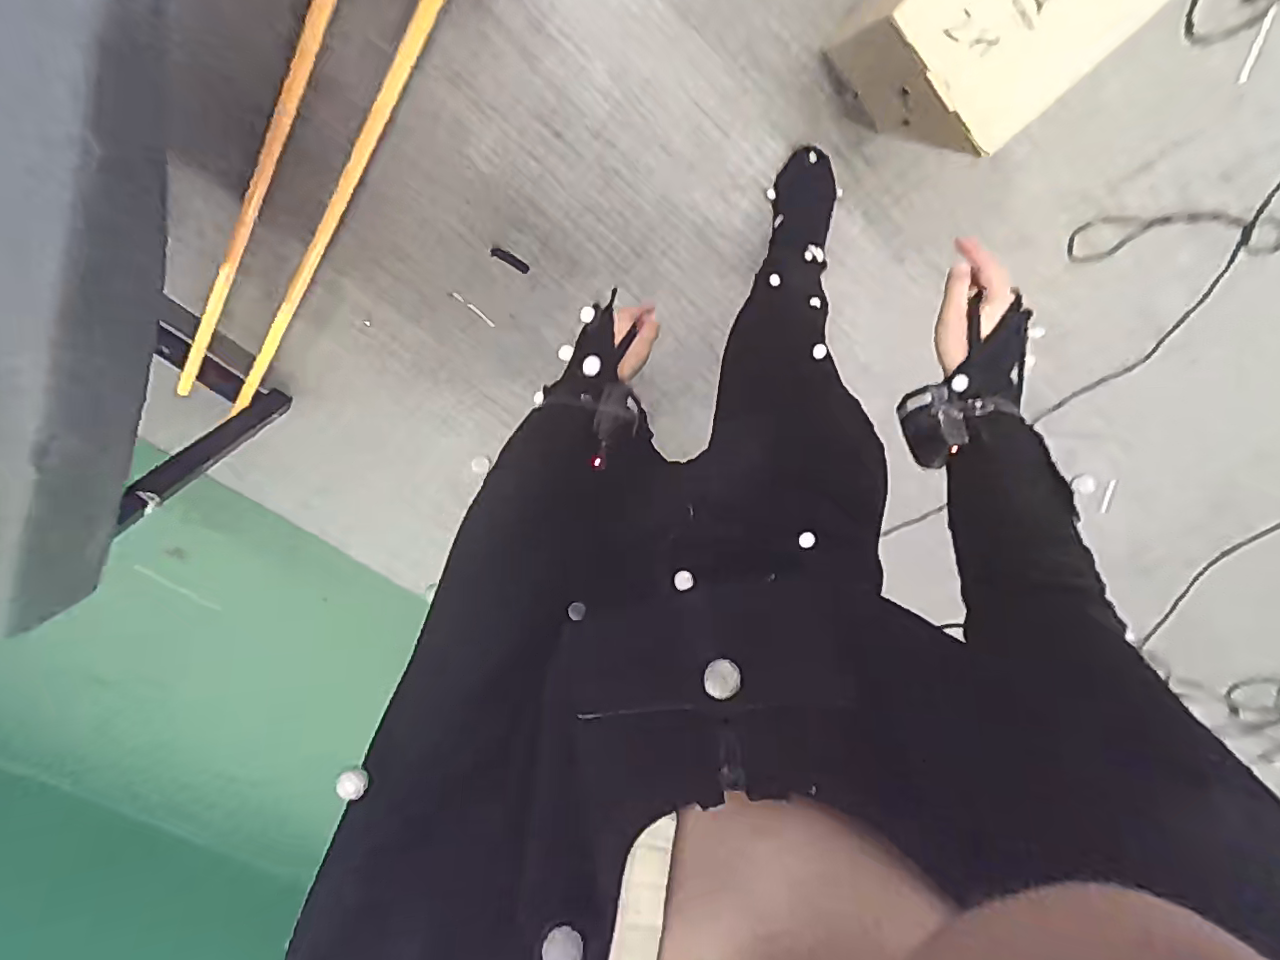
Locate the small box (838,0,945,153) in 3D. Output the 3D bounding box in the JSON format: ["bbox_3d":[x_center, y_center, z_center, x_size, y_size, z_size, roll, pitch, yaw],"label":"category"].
[{"bbox_3d":[0.378,-0.551,0.676,0.179,0.176,0.168,39,120,-17],"label":"small box"}]

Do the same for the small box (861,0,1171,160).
[{"bbox_3d":[0.353,-0.462,0.540,0.168,0.176,0.179,40,121,-18],"label":"small box"}]

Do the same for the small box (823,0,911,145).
[{"bbox_3d":[0.402,-0.644,0.806,0.179,0.176,0.168,40,119,-20],"label":"small box"}]
